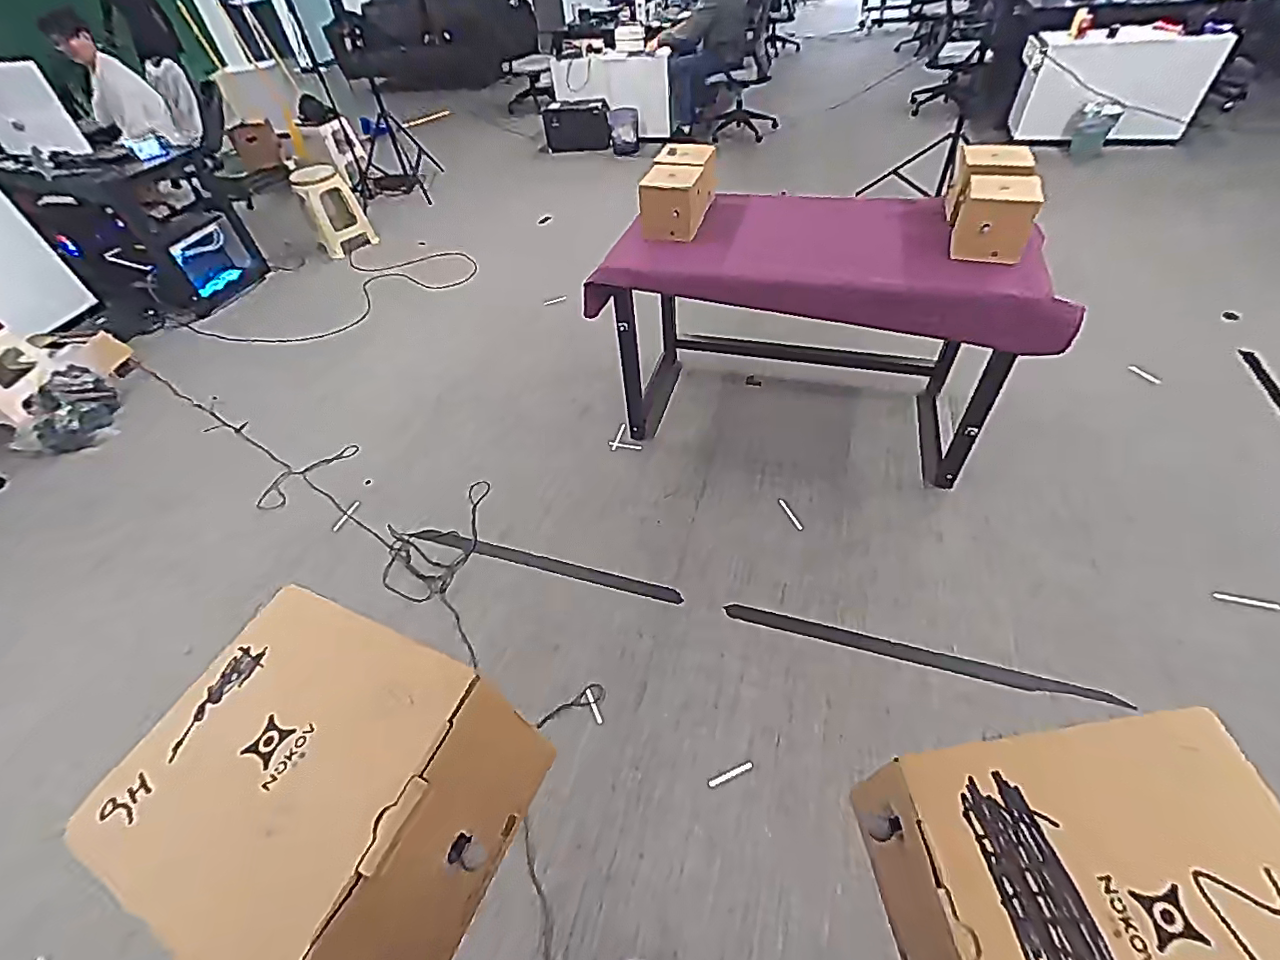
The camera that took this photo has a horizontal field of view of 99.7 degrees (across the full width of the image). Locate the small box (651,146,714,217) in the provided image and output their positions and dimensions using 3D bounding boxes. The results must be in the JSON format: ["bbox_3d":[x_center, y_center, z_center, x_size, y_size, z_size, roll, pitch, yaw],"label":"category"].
[{"bbox_3d":[0.147,-1.020,1.850,0.179,0.176,0.168,13,52,15],"label":"small box"}]

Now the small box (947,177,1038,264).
[{"bbox_3d":[0.963,-0.714,1.487,0.168,0.176,0.179,13,49,19],"label":"small box"}]

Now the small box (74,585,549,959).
[{"bbox_3d":[-0.185,0.204,0.365,0.179,0.176,0.168,16,54,21],"label":"small box"}]

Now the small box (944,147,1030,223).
[{"bbox_3d":[1.030,-0.879,1.623,0.179,0.176,0.168,11,51,15],"label":"small box"}]
